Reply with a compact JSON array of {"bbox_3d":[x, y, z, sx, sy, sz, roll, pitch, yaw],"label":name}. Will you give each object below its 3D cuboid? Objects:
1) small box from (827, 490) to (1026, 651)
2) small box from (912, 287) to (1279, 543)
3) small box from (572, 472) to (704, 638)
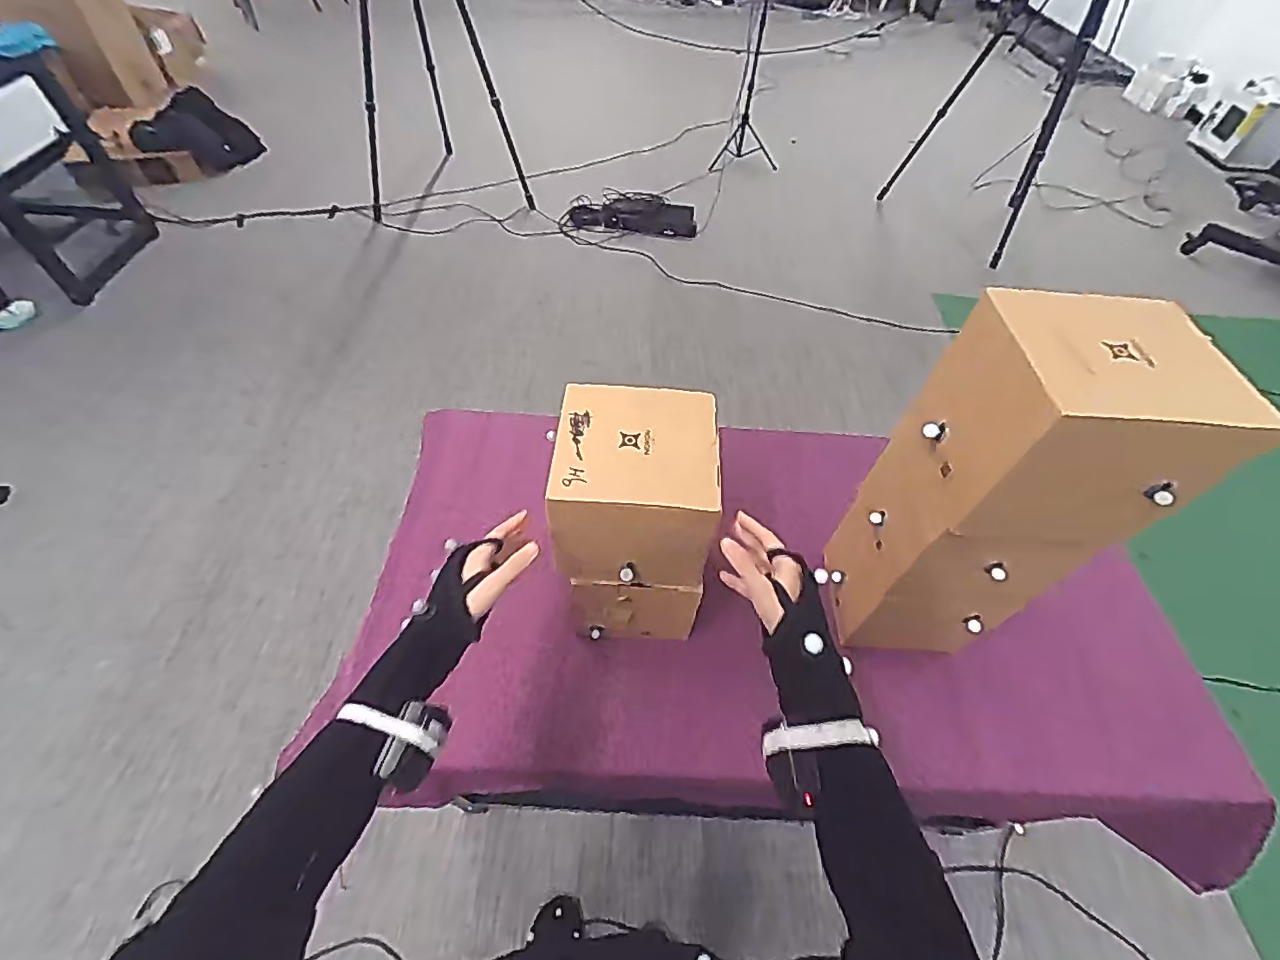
[{"bbox_3d":[0.391,0.135,0.774,0.179,0.176,0.168,4,52,0],"label":"small box"},{"bbox_3d":[0.393,-0.055,0.506,0.179,0.176,0.168,4,52,0],"label":"small box"},{"bbox_3d":[-0.002,0.111,0.770,0.168,0.176,0.179,4,52,-1],"label":"small box"}]
